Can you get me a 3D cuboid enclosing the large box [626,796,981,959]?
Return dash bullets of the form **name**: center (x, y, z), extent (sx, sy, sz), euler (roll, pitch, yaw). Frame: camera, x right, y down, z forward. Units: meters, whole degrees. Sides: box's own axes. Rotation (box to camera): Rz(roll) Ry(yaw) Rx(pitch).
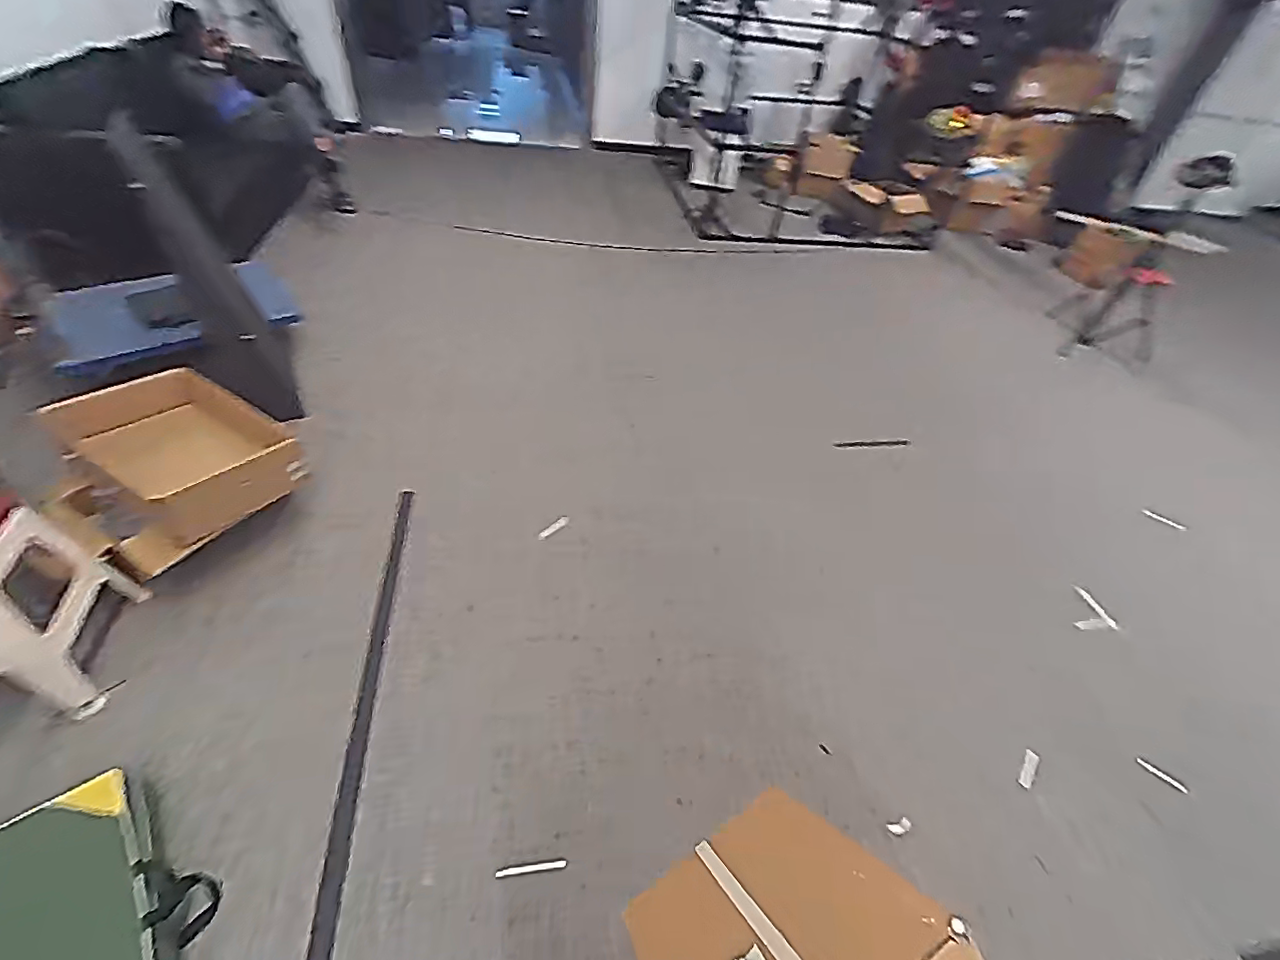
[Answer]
- **large box**: center (0.223, 0.691, 0.674), extent (0.320, 0.408, 0.320), euler (-28, 87, -17)
